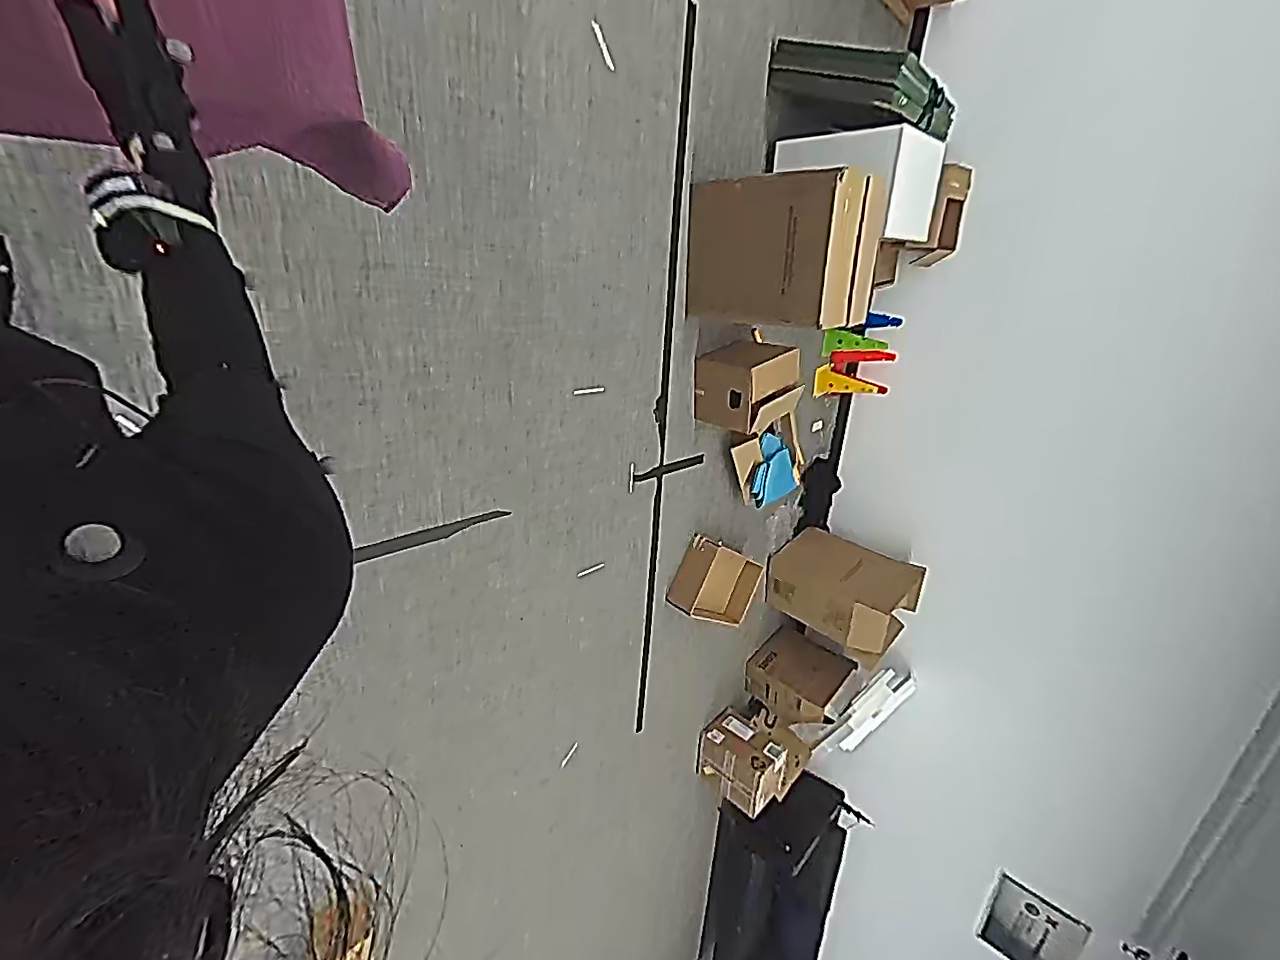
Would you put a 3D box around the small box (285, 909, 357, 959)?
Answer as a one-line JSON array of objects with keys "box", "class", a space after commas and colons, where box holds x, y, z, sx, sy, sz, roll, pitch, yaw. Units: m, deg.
[{"box": [-1.077, 1.622, 1.830, 0.168, 0.176, 0.179, -15, 116, -48], "class": "small box"}]
